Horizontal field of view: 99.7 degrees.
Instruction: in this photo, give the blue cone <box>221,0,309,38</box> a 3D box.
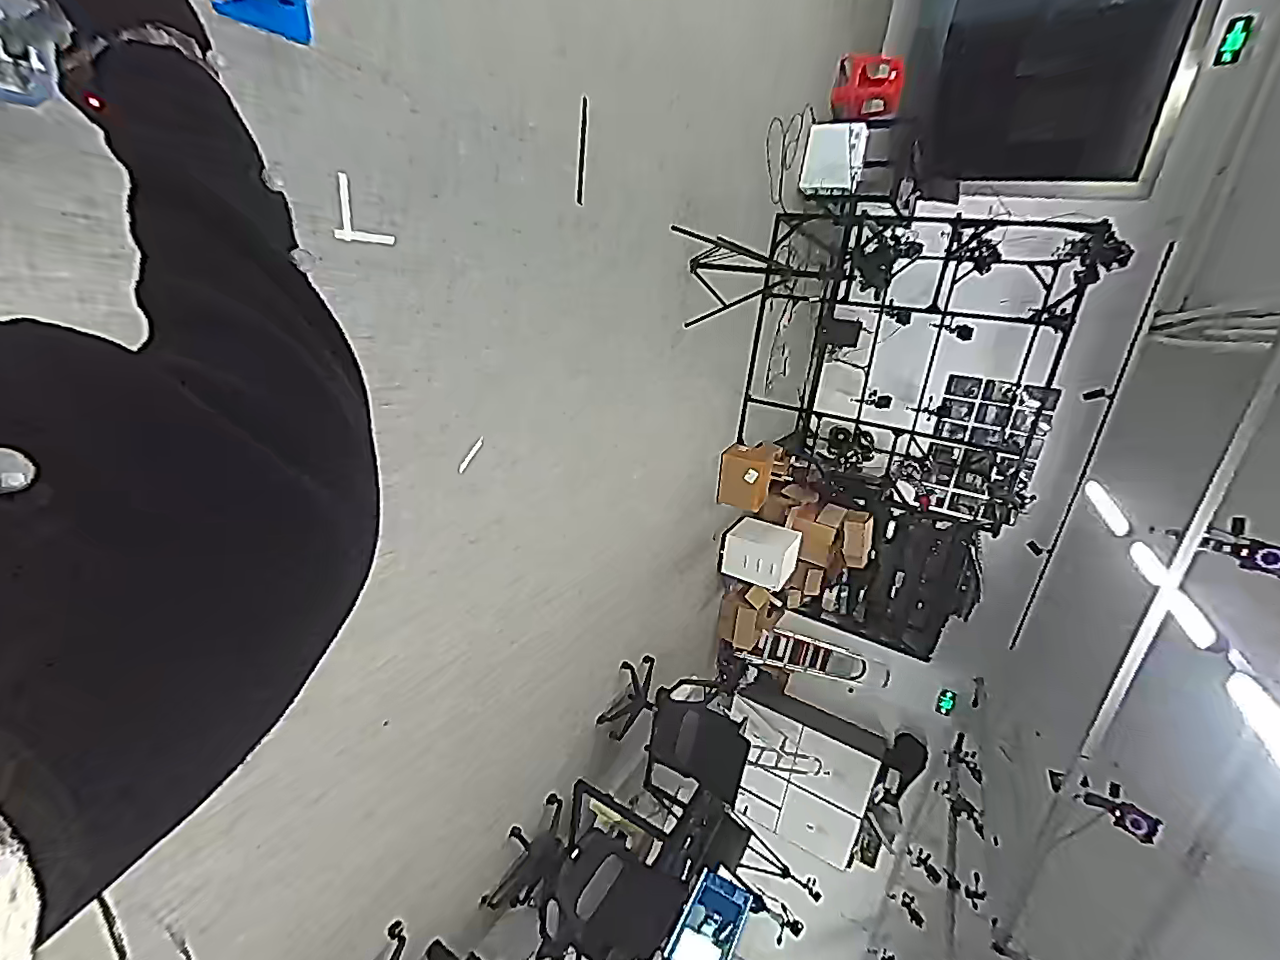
[{"bbox_3d":[-0.654,-1.020,1.055,0.193,0.380,0.192,-29,129,-55],"label":"blue cone"}]
